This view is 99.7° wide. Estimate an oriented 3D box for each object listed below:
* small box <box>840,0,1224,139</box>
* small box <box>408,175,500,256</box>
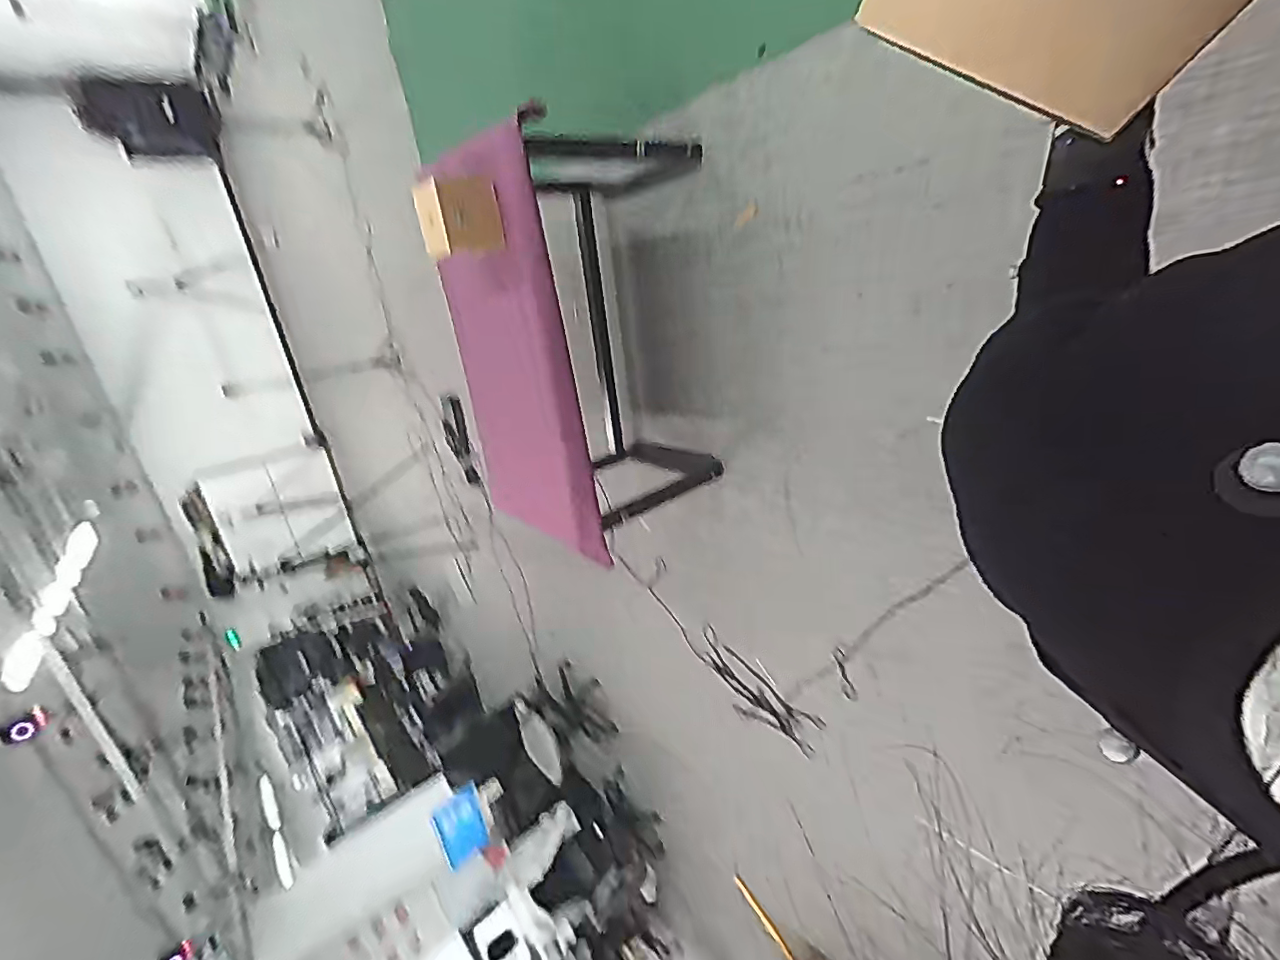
[{"bbox_3d":[0.244,-0.338,0.284,0.179,0.168,0.176,28,164,7],"label":"small box"},{"bbox_3d":[-0.499,-0.717,1.467,0.168,0.176,0.179,19,123,47],"label":"small box"}]
